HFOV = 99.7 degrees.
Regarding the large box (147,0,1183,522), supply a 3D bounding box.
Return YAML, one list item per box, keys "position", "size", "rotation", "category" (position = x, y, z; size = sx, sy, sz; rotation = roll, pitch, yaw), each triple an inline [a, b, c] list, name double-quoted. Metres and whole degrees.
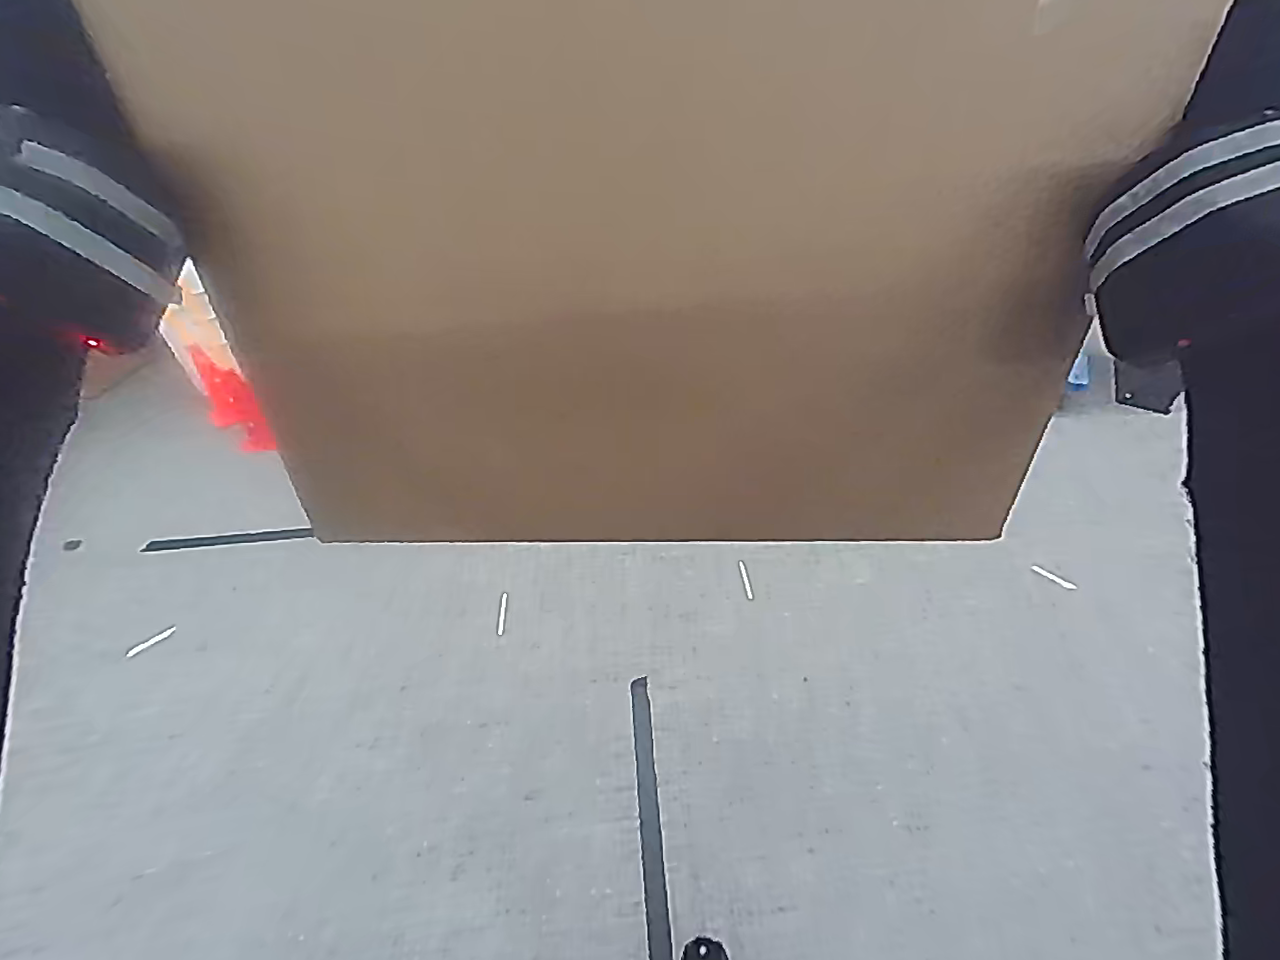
- position: [0.009, -0.180, 0.377]
  size: [0.408, 0.320, 0.320]
  rotation: [0, 33, 1]
  category: "large box"
